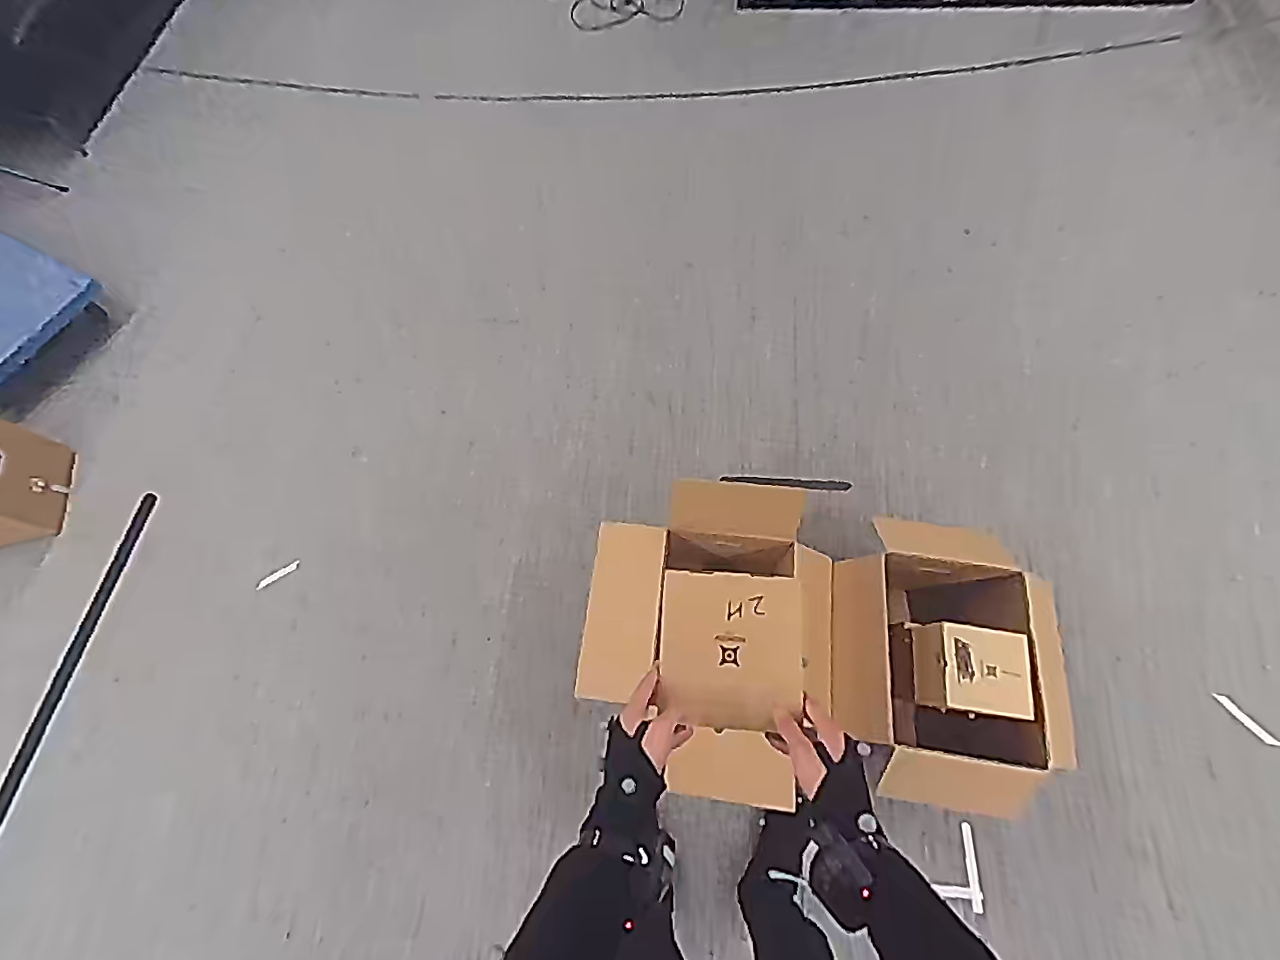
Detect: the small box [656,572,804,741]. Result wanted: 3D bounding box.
[{"bbox_3d":[0.111,0.221,0.696,0.168,0.176,0.179,3,73,5],"label":"small box"}]
